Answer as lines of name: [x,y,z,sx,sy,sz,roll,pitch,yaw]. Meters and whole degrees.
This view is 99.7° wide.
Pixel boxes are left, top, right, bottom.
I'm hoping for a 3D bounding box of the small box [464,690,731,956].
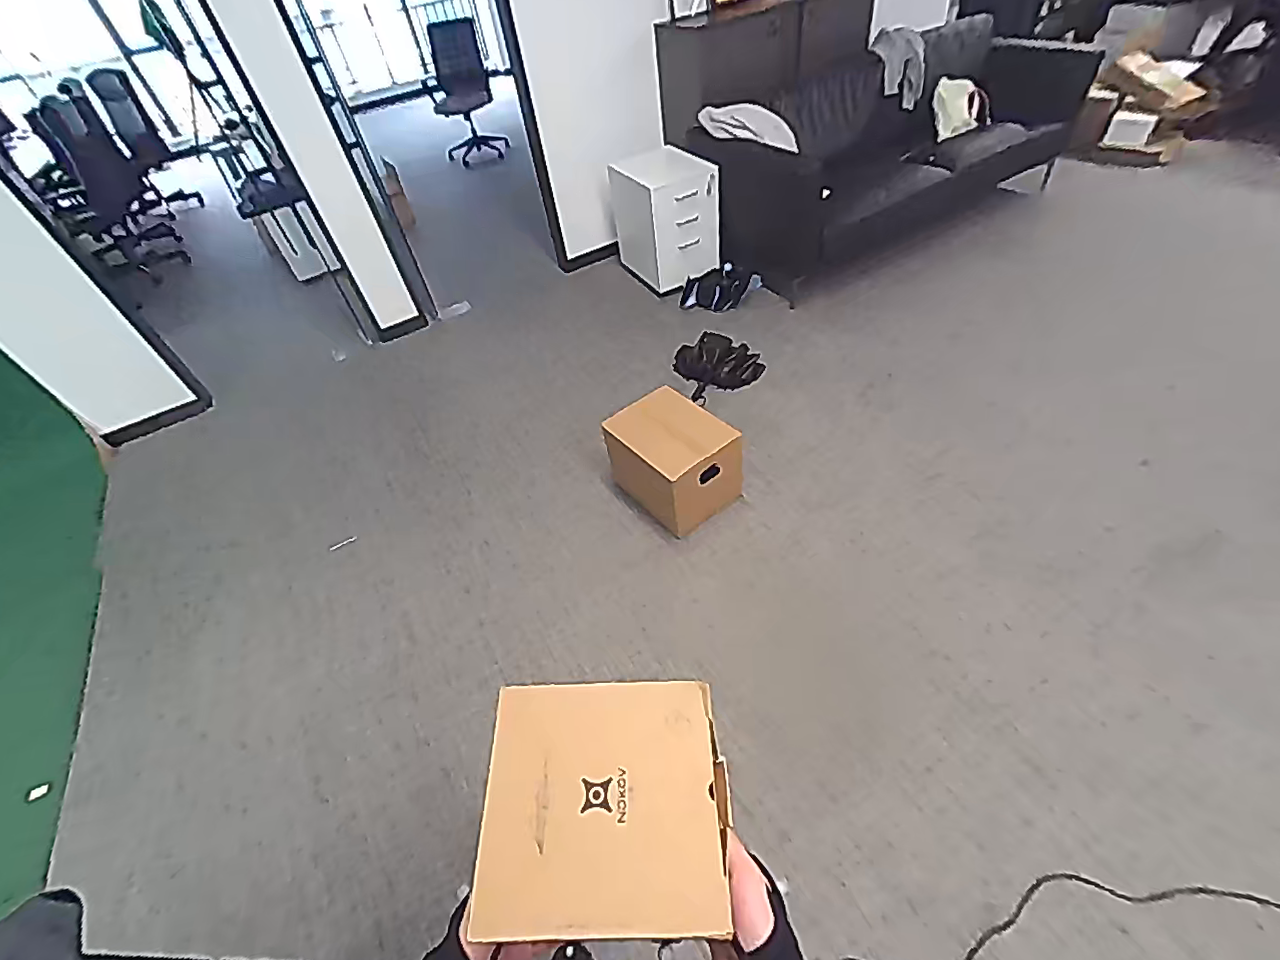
small box: [-0.027,0.291,0.460,0.179,0.176,0.168,-3,49,1]
